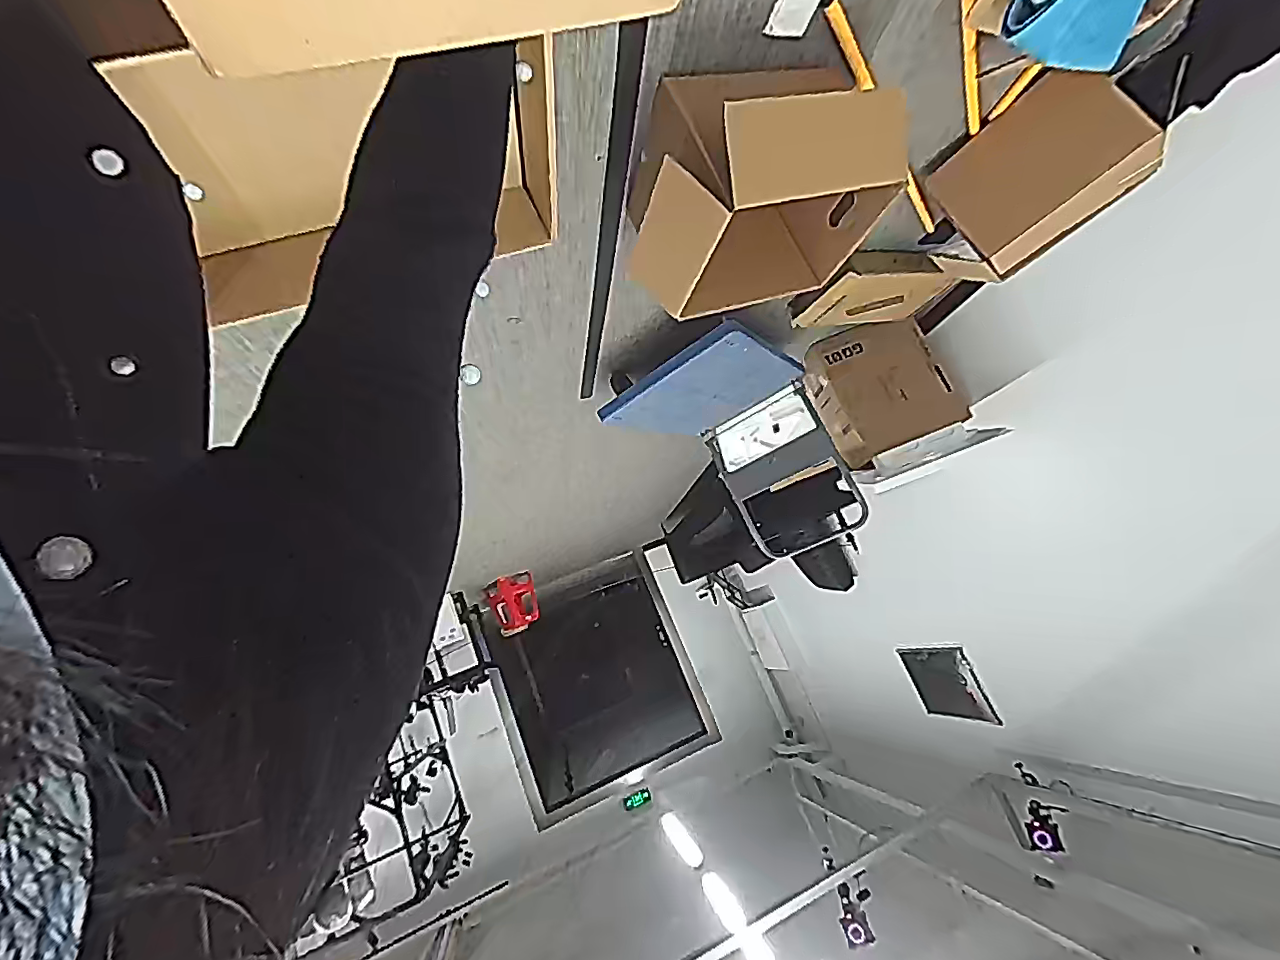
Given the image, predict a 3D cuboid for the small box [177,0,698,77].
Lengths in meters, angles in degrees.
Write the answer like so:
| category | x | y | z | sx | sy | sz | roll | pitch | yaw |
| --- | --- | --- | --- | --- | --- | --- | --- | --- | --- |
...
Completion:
| category | x | y | z | sx | sy | sz | roll | pitch | yaw |
| --- | --- | --- | --- | --- | --- | --- | --- | --- | --- |
| small box | -0.077 | -0.258 | 0.142 | 0.179 | 0.176 | 0.168 | -19 | 166 | -12 |
